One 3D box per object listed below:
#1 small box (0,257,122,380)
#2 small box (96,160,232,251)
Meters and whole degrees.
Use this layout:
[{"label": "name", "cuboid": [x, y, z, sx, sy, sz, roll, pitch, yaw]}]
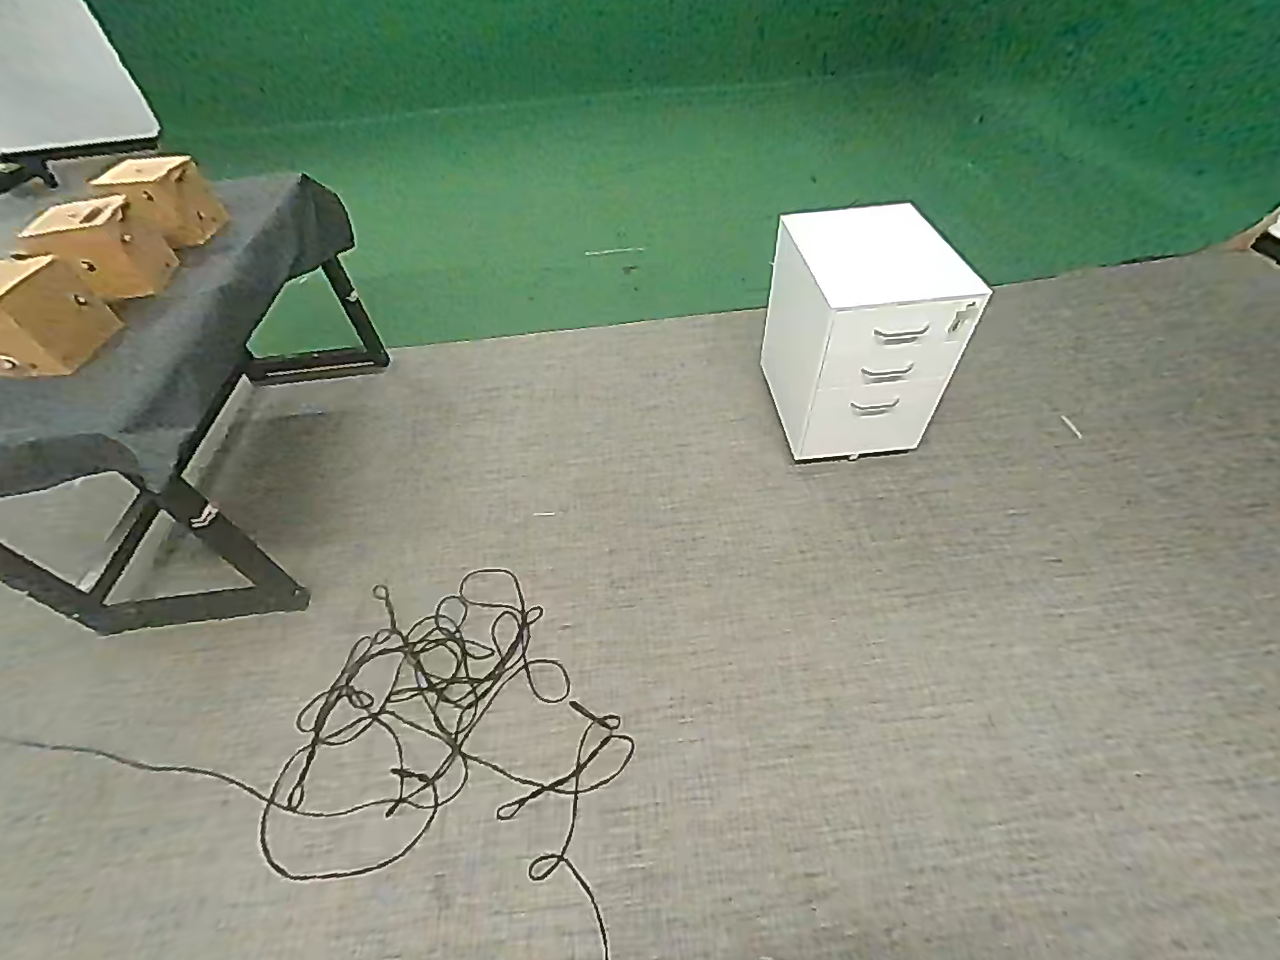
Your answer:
[{"label": "small box", "cuboid": [-1.220, -0.324, 1.092, 0.168, 0.176, 0.179, -4, 50, 3]}, {"label": "small box", "cuboid": [-1.256, -0.729, 1.444, 0.179, 0.176, 0.168, -2, 49, 2]}]
